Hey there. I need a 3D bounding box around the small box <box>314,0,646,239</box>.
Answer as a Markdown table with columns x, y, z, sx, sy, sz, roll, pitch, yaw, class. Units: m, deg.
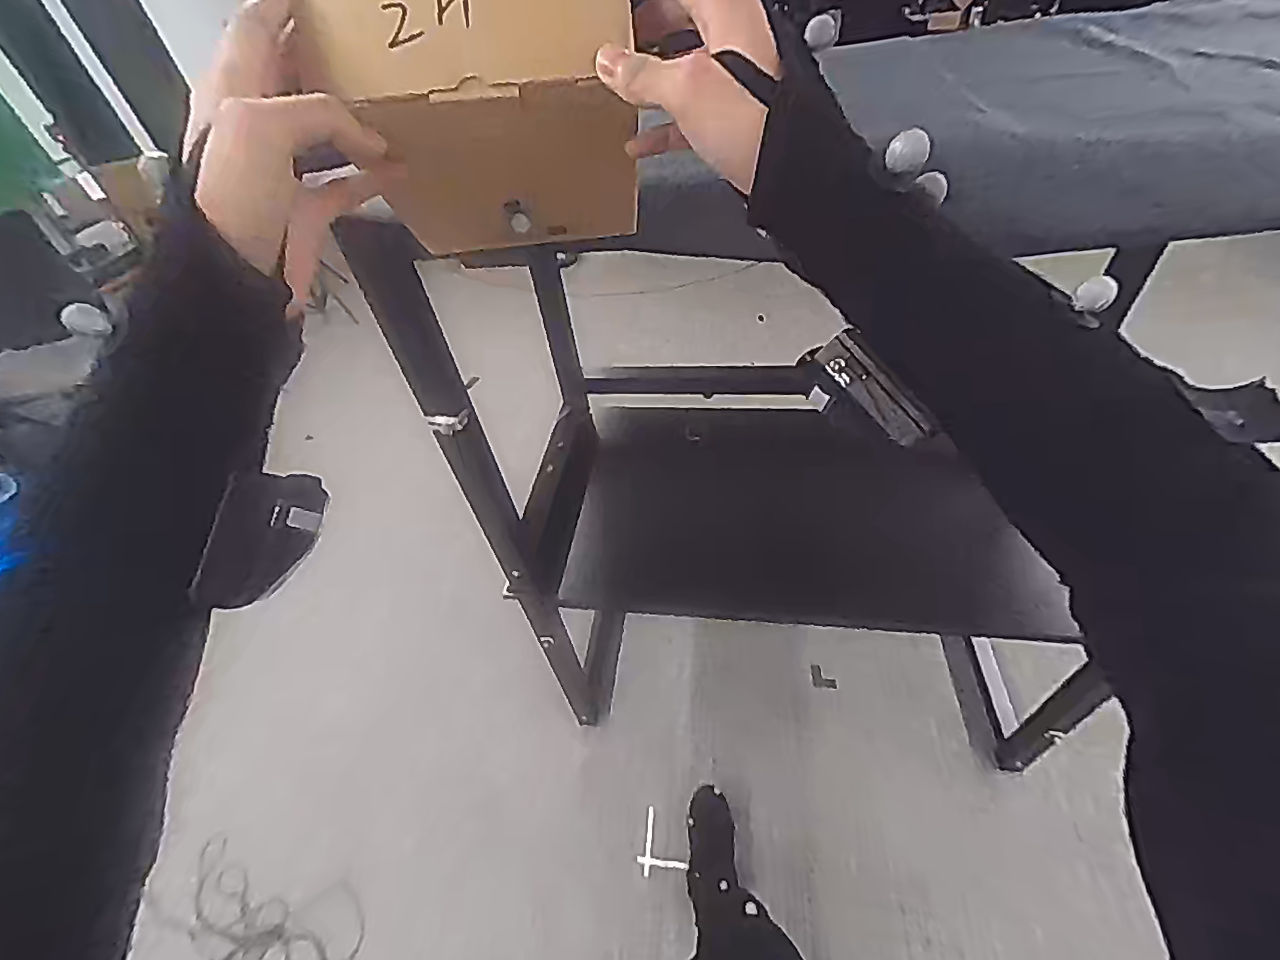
| x | y | z | sx | sy | sz | roll | pitch | yaw | class |
| --- | --- | --- | --- | --- | --- | --- | --- | --- | --- |
| -0.088 | -0.286 | 0.355 | 0.168 | 0.176 | 0.179 | -6 | 89 | -1 | small box |
